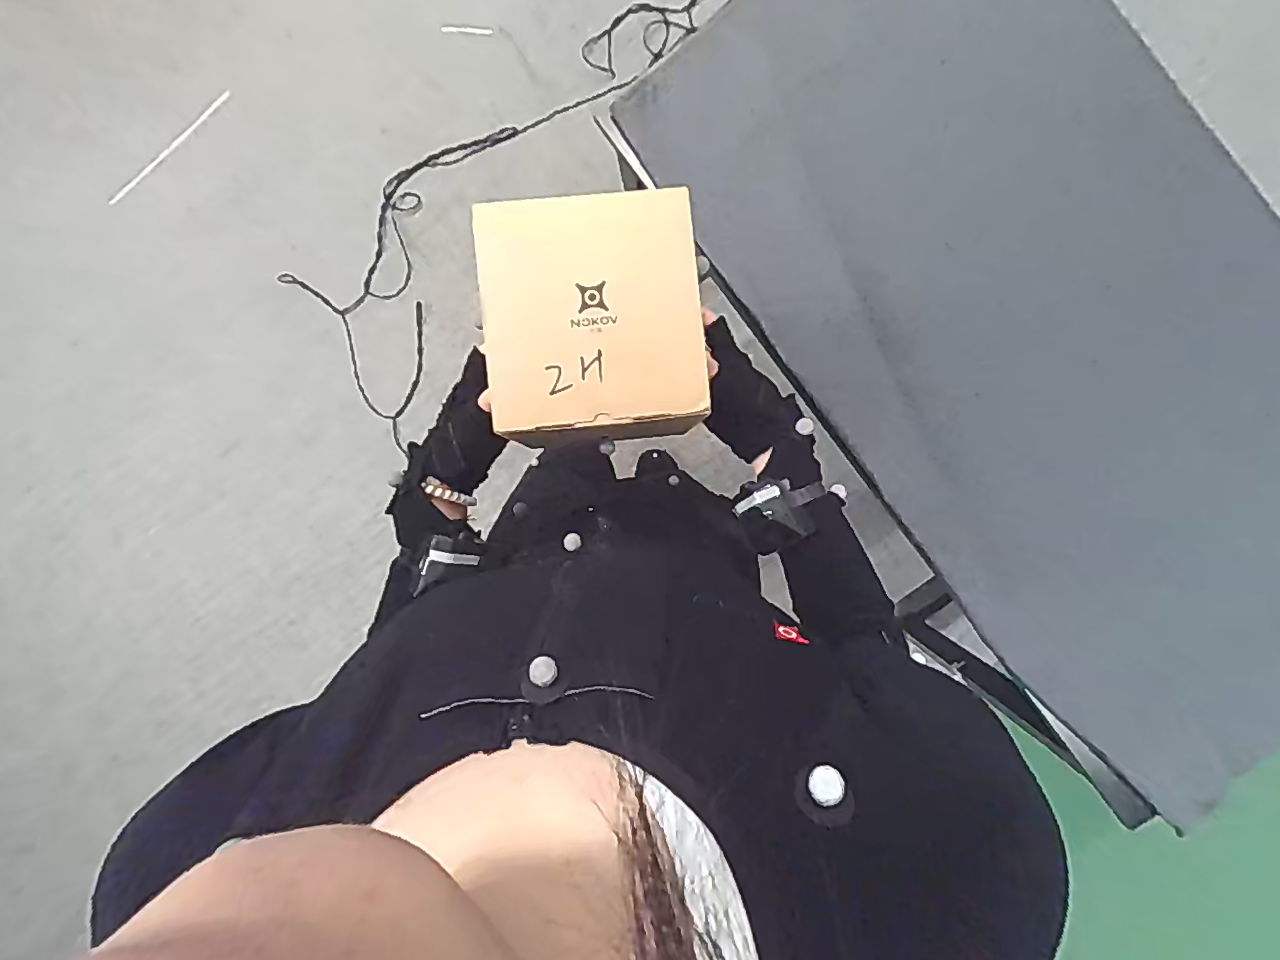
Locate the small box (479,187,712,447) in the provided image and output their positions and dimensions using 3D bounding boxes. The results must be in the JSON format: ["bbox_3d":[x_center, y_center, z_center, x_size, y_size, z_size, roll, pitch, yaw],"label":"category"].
[{"bbox_3d":[-0.037,-0.129,0.486,0.168,0.176,0.179,-6,90,-2],"label":"small box"}]
